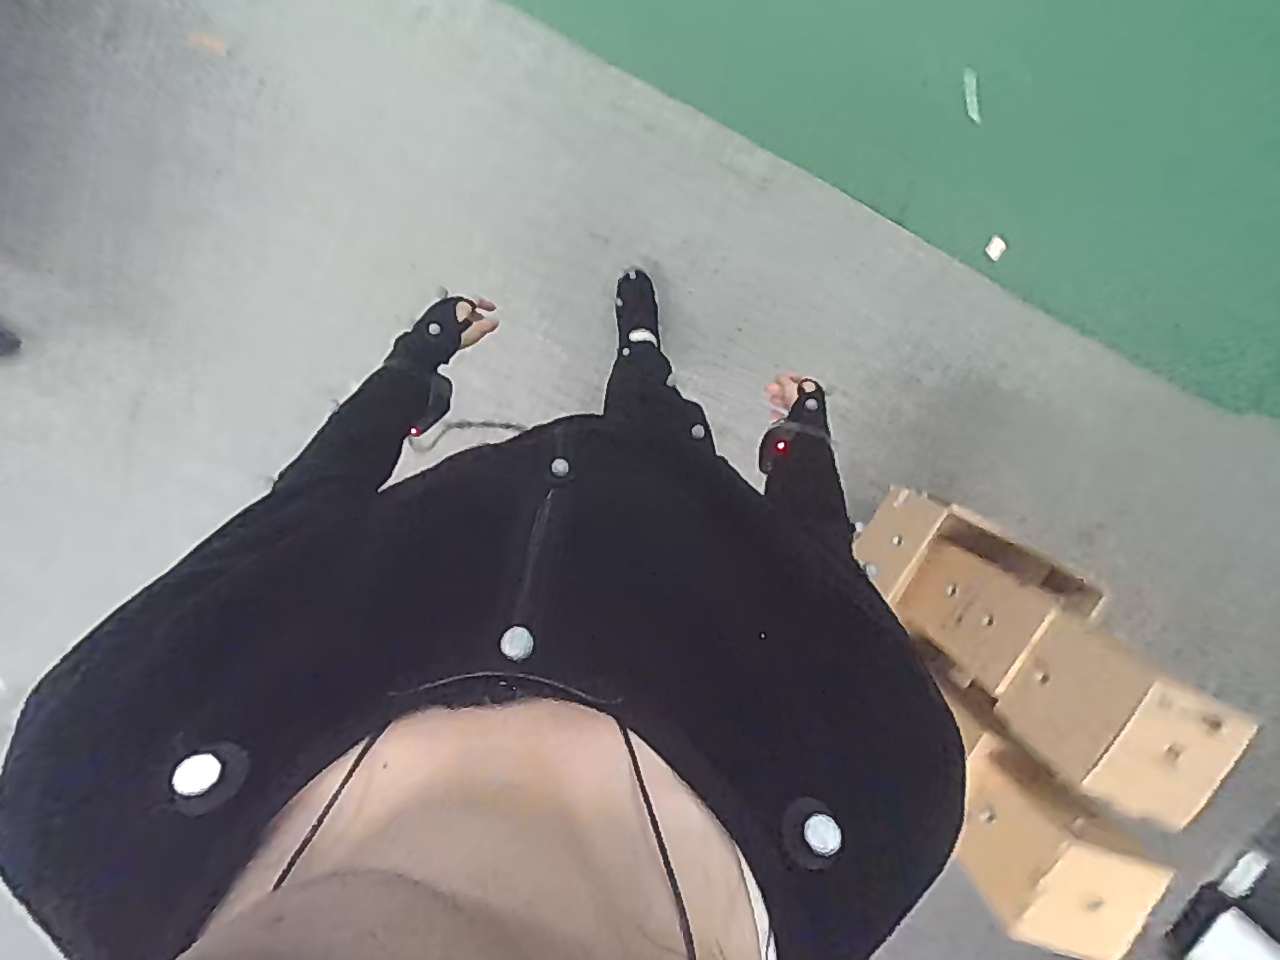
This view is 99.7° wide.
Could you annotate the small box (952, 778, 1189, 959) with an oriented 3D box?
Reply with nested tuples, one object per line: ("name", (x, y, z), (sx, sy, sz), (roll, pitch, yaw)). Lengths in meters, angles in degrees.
("small box", (0.615, 0.581, 0.797), (0.179, 0.176, 0.168), (21, 99, -5))

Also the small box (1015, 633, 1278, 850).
("small box", (0.671, 0.349, 0.748), (0.168, 0.176, 0.179), (26, 100, -6))
